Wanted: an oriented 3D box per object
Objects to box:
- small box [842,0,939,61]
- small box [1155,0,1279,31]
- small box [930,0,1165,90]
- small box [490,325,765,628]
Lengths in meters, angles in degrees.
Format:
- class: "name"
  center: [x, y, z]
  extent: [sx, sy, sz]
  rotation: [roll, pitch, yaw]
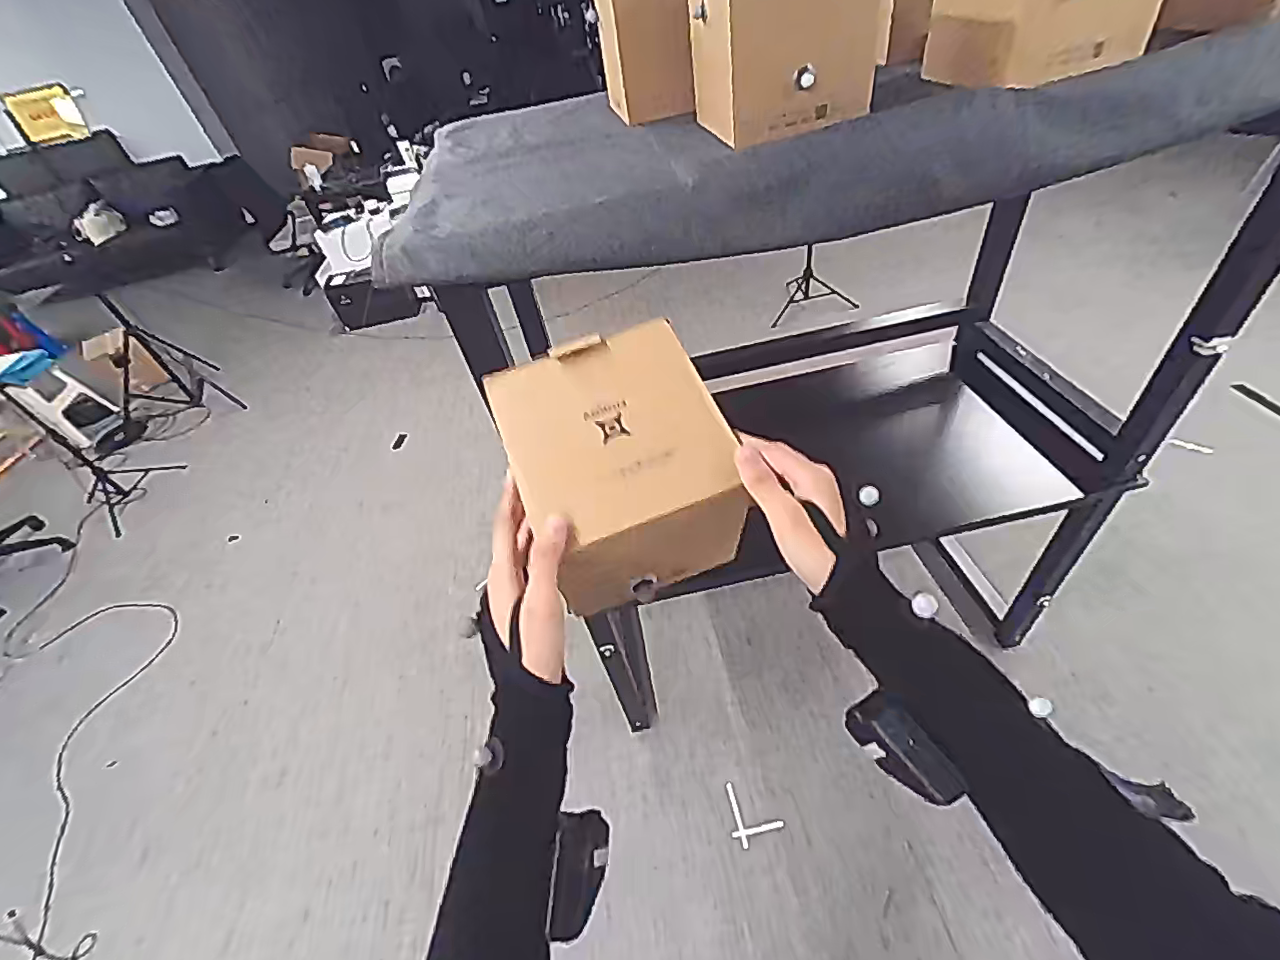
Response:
- class: "small box"
  center: [0.421, -0.751, 0.811]
  extent: [0.168, 0.176, 0.179]
  rotation: [-13, 44, -1]
- class: "small box"
  center: [0.758, -0.631, 0.610]
  extent: [0.168, 0.176, 0.179]
  rotation: [-11, 41, 2]
- class: "small box"
  center: [0.465, -0.563, 0.612]
  extent: [0.168, 0.176, 0.179]
  rotation: [-14, 42, -1]
- class: "small box"
  center: [-0.013, 0.003, 0.475]
  extent: [0.168, 0.176, 0.179]
  rotation: [-21, 60, -7]
